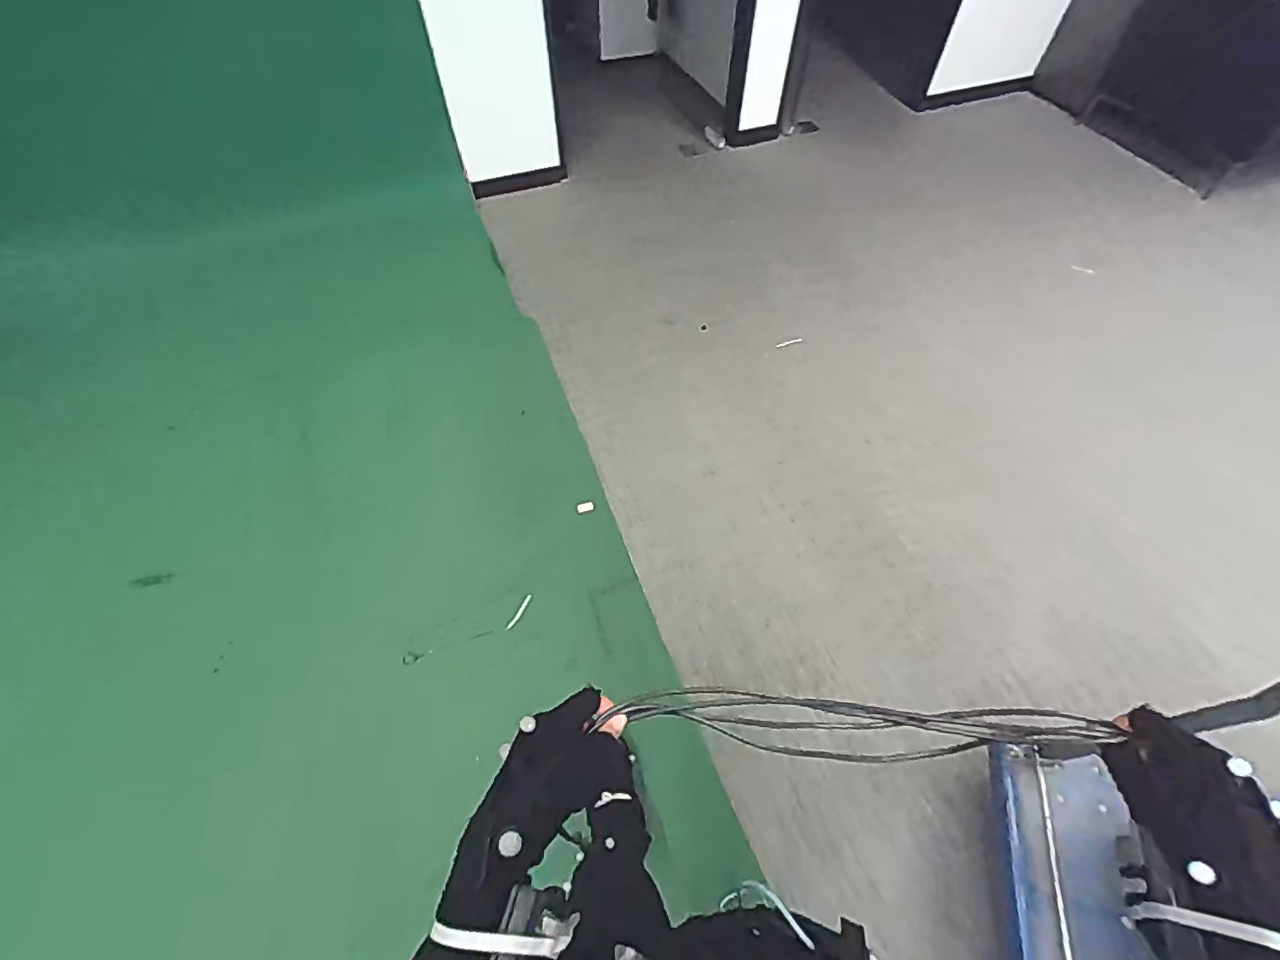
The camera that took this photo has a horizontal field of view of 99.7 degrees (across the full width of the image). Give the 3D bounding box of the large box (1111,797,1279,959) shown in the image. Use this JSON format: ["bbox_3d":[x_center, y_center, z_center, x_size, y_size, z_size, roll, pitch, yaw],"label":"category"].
[{"bbox_3d":[1.098,0.748,0.845,0.320,0.320,0.408,-7,56,-5],"label":"large box"}]
